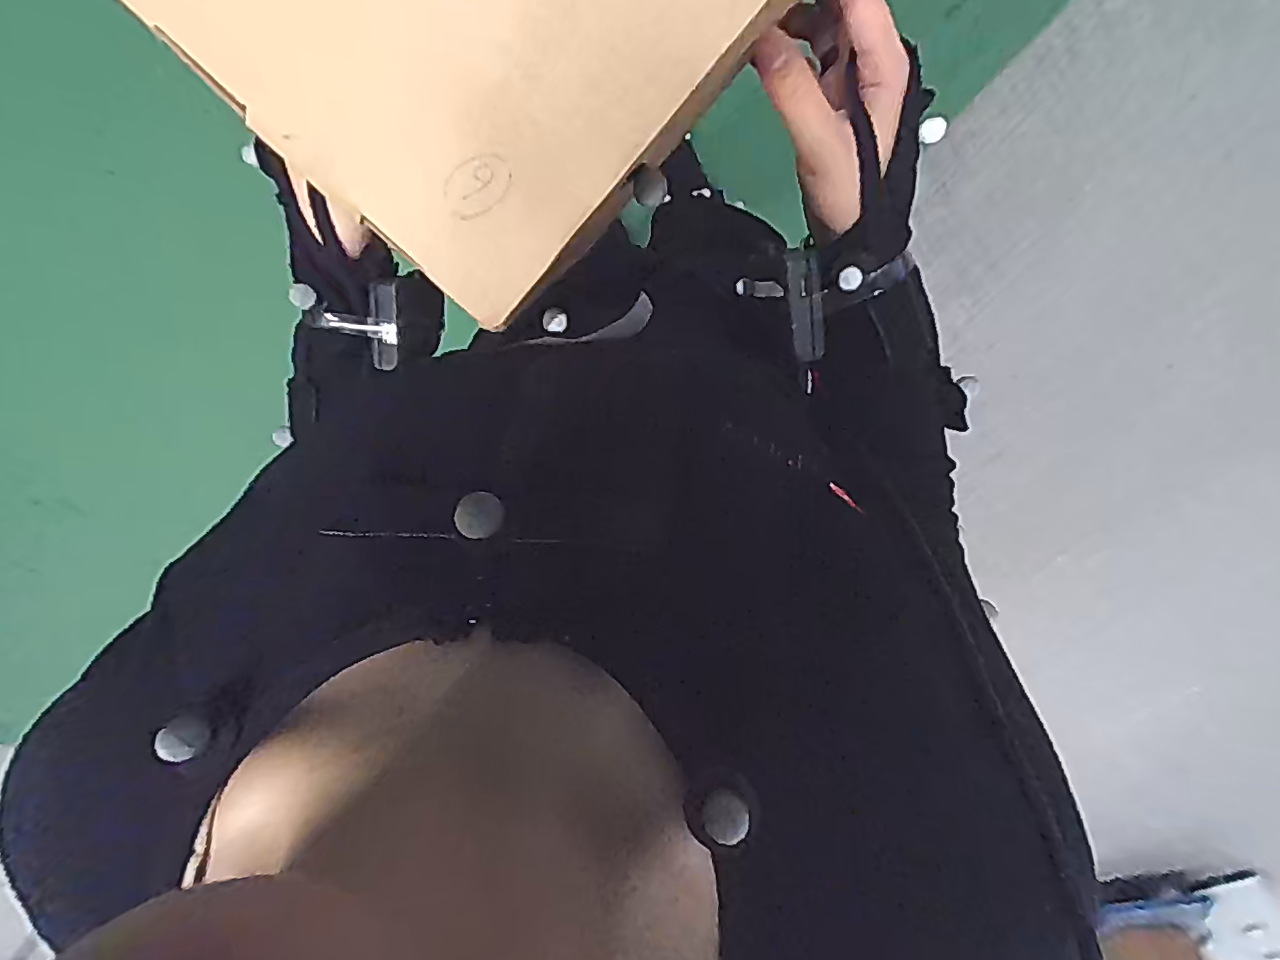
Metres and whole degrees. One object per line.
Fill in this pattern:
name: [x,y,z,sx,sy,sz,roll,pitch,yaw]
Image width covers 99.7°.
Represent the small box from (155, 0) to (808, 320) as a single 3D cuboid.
small box: [-0.040,-0.201,0.214,0.179,0.176,0.168,-37,110,28]
